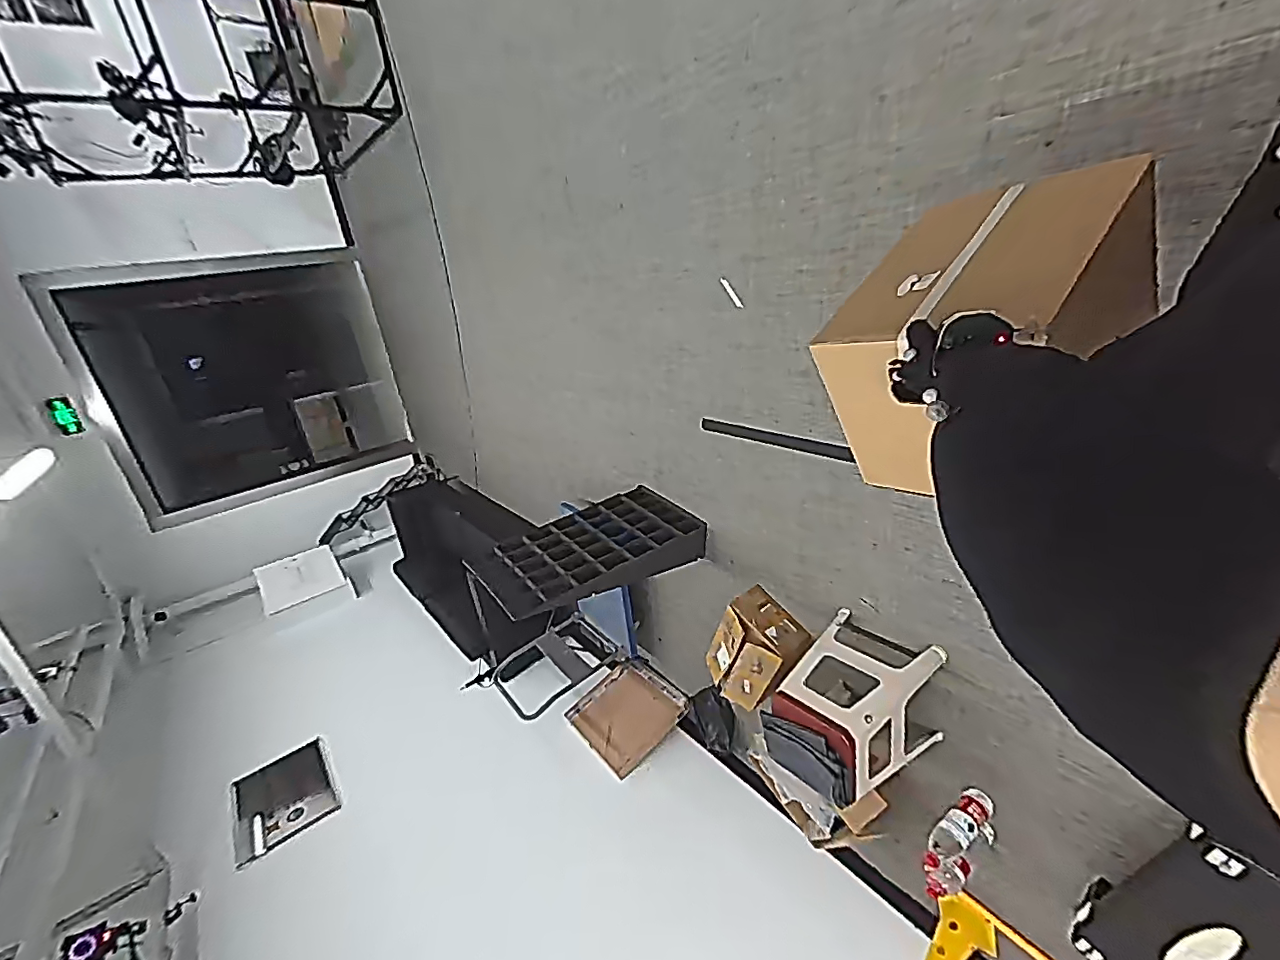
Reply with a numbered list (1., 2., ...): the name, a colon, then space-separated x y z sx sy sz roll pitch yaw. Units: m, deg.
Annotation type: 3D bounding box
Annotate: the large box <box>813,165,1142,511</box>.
1. large box: 0.554 -0.216 0.870 0.320 0.408 0.320 12 144 53
